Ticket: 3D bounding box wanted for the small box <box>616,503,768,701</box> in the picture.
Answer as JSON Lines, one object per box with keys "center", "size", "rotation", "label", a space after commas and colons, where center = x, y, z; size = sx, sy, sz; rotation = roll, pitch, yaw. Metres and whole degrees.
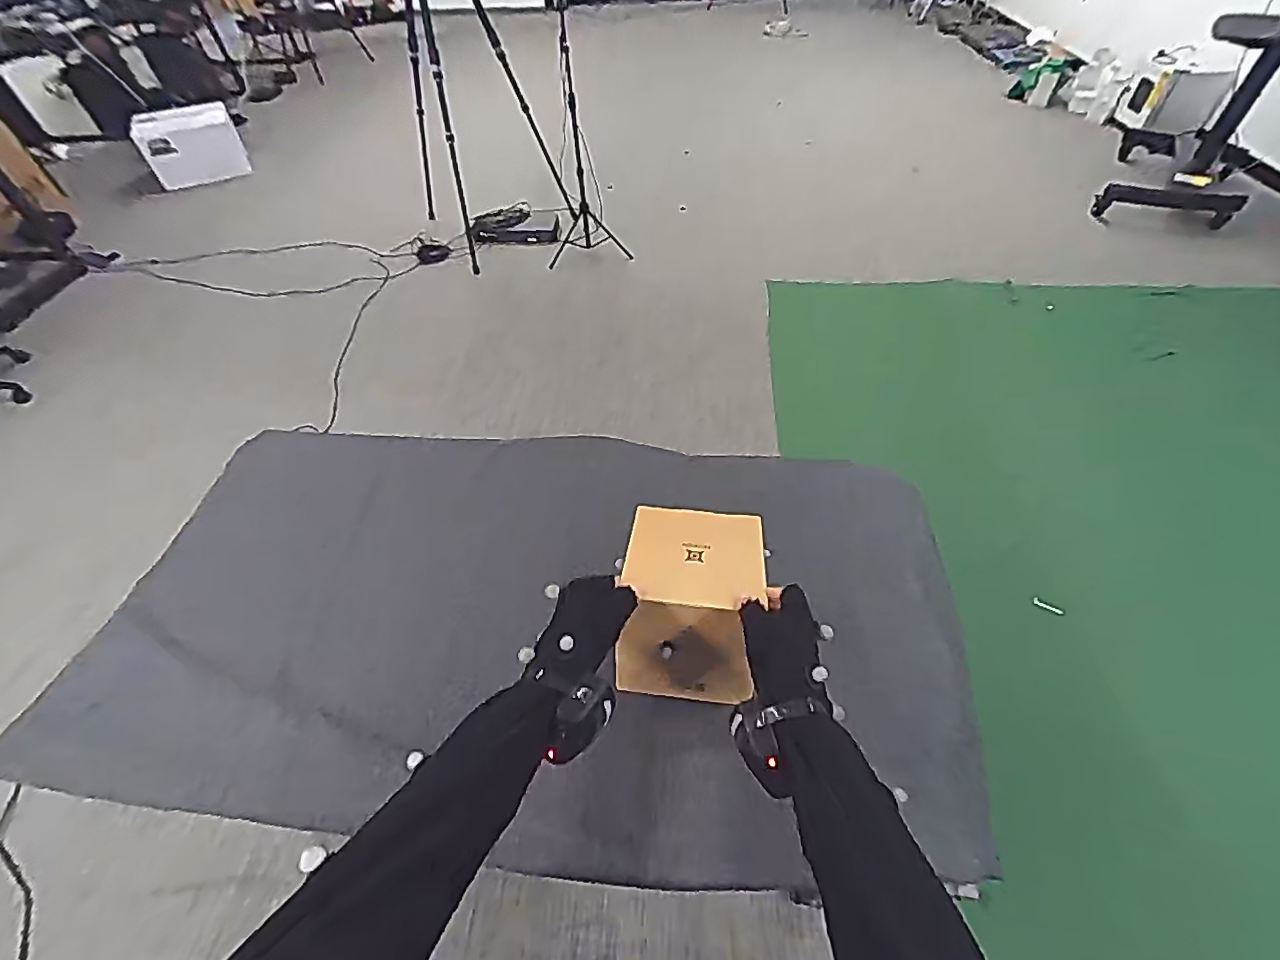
{"center": [0.066, 0.151, 0.685], "size": [0.168, 0.176, 0.179], "rotation": [5, 31, 6], "label": "small box"}
